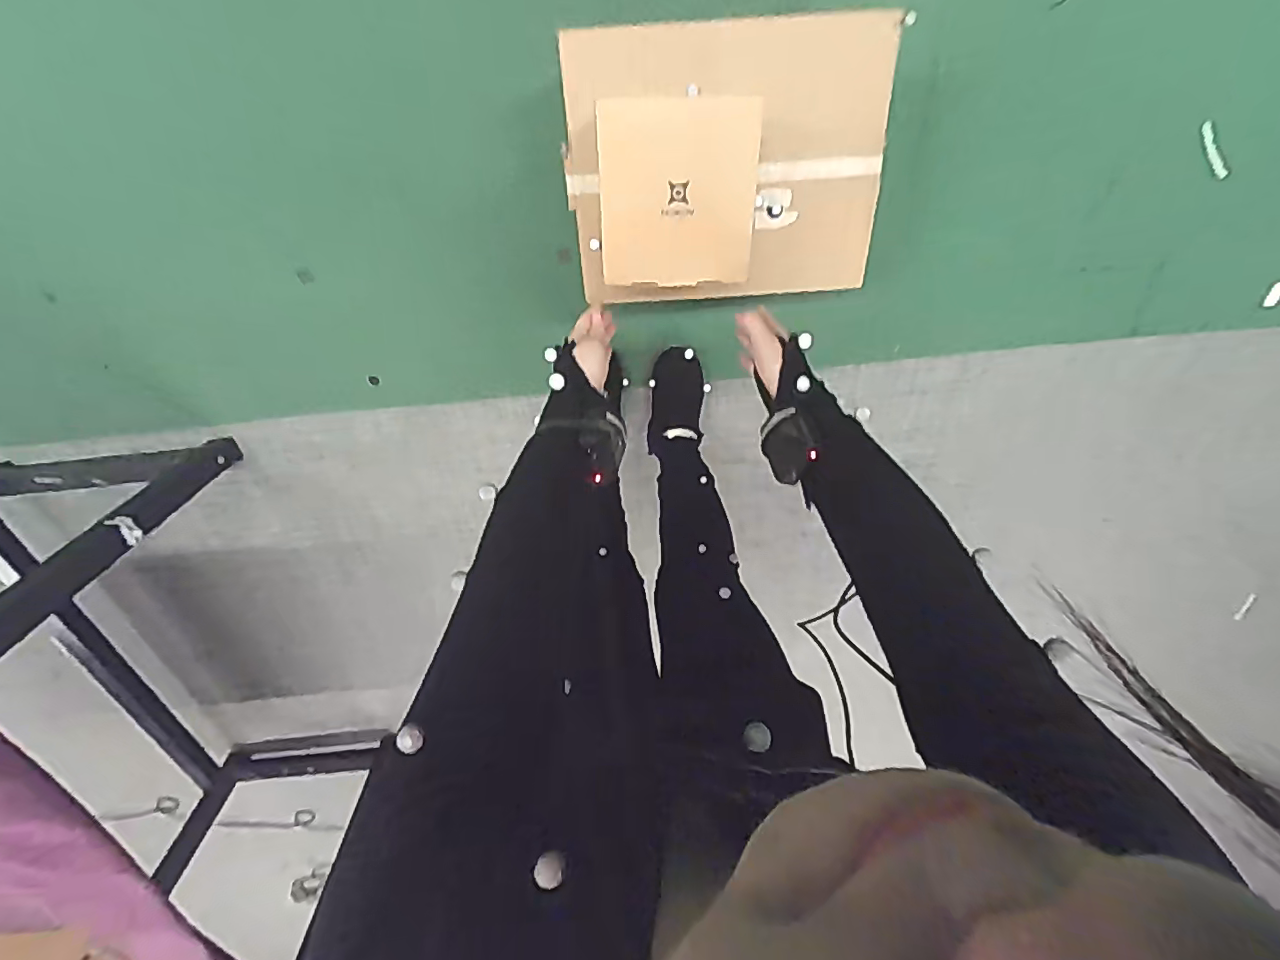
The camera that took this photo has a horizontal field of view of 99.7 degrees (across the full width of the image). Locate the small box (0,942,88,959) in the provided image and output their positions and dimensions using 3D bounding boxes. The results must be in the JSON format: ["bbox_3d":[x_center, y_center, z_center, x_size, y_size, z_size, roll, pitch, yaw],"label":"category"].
[{"bbox_3d":[-0.959,0.818,0.796,0.179,0.176,0.168,-4,122,0],"label":"small box"}]

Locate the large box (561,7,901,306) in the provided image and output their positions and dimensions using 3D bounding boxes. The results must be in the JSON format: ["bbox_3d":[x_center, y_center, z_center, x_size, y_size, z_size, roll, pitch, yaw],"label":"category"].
[{"bbox_3d":[0.108,-0.472,0.826,0.408,0.320,0.320,-4,122,0],"label":"large box"}]

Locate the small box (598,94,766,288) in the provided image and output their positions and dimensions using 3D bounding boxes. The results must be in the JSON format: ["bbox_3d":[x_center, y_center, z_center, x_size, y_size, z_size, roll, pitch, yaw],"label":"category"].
[{"bbox_3d":[0.037,-0.330,0.624,0.168,0.176,0.179,-3,122,-1],"label":"small box"}]
